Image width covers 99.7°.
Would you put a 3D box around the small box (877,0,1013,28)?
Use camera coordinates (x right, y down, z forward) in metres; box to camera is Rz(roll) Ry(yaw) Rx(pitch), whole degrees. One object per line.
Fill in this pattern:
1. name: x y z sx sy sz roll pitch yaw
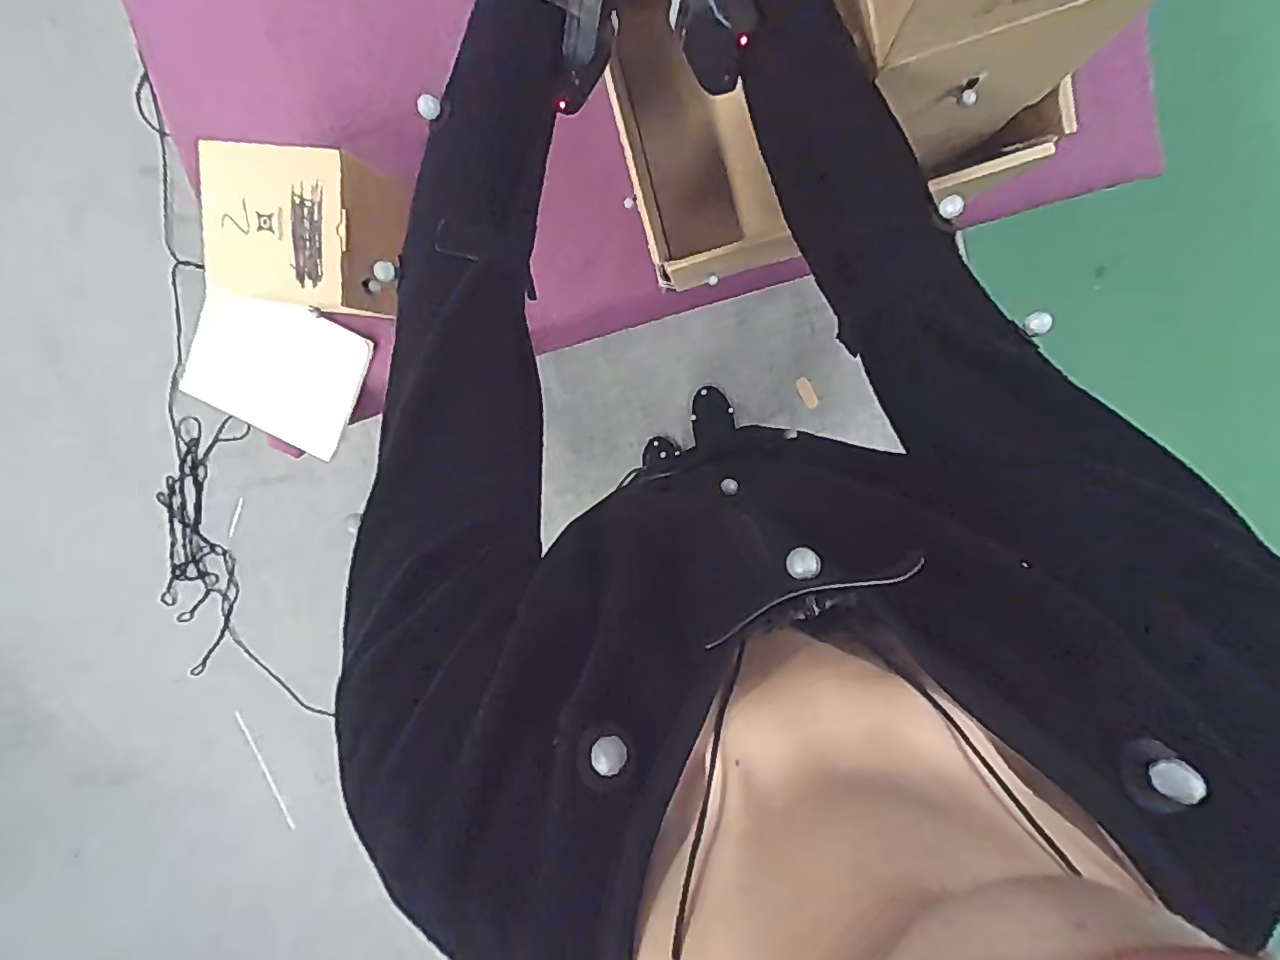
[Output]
1. small box: 0.194 -0.339 0.223 0.168 0.176 0.179 -12 98 11

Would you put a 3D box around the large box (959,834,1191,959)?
1. large box: 1.182 1.265 1.460 0.408 0.320 0.320 -30 96 10

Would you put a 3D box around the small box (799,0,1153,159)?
1. small box: 0.221 -0.364 0.382 0.179 0.176 0.168 -12 99 12
